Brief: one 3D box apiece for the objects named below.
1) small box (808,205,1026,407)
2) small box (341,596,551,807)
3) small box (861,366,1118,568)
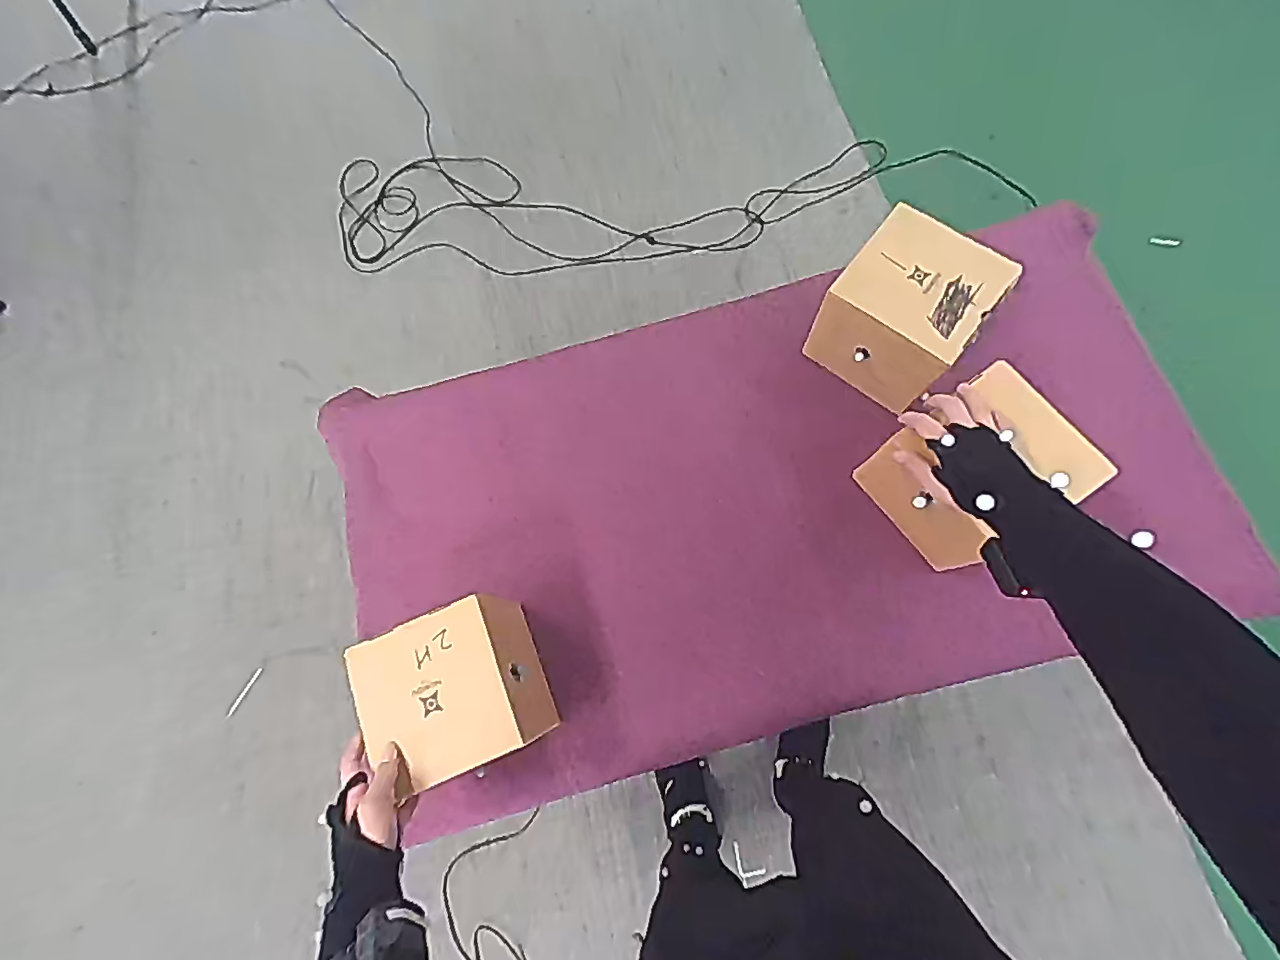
[{"bbox_3d":[0.360,-0.222,0.741,0.179,0.176,0.168,39,82,14],"label":"small box"},{"bbox_3d":[-0.224,0.256,0.662,0.168,0.176,0.179,-22,73,-2],"label":"small box"},{"bbox_3d":[0.415,-0.003,0.680,0.168,0.176,0.179,-34,74,-4],"label":"small box"}]
